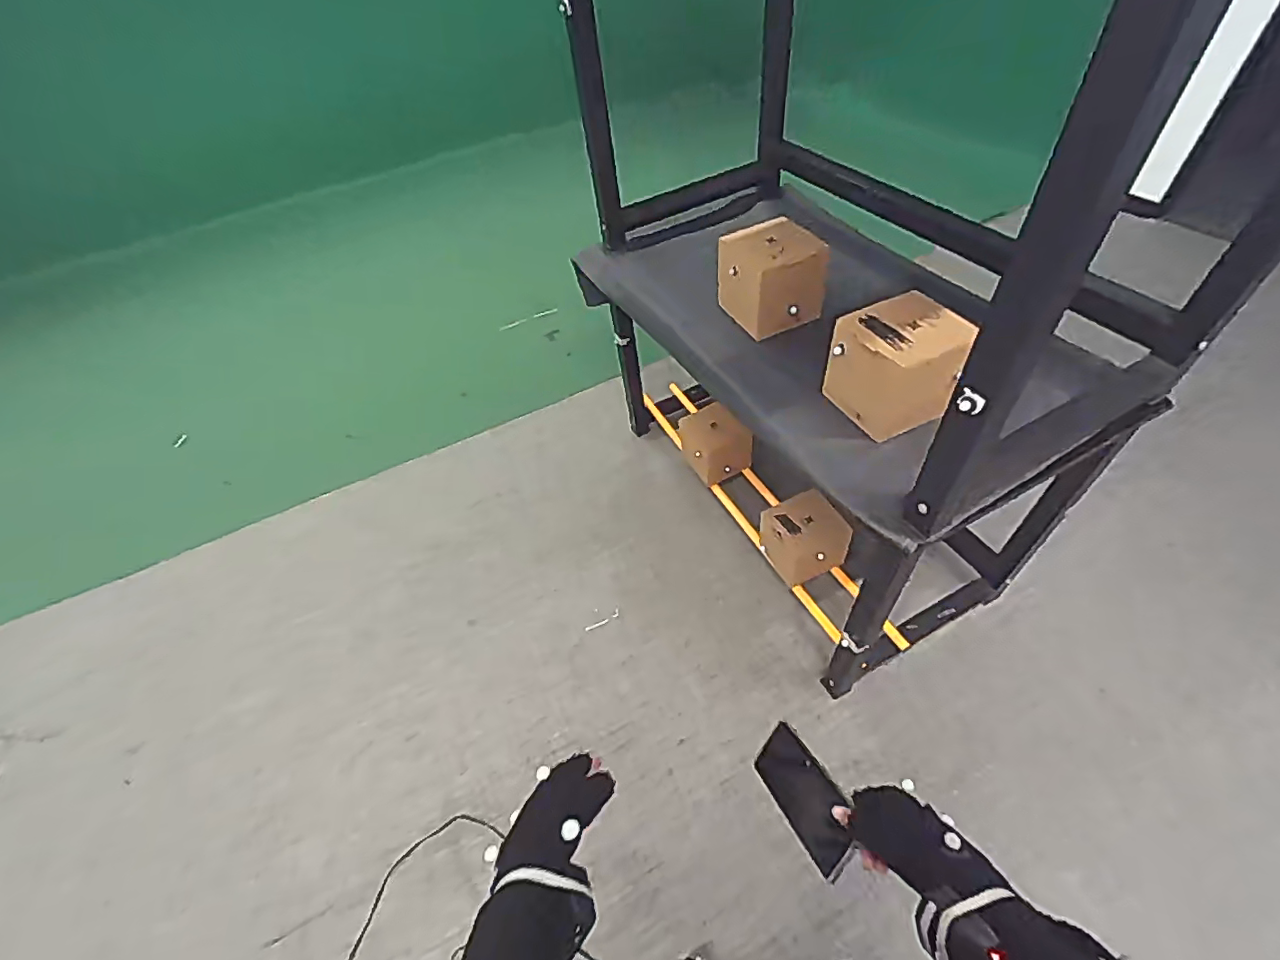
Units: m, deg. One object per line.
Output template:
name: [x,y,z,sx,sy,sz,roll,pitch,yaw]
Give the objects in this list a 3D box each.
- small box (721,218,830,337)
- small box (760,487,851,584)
small box: [0.289,-0.447,1.198,0.168,0.176,0.179,-22,51,-10]
small box: [0.447,0.157,1.486,0.179,0.176,0.168,-22,51,-10]
